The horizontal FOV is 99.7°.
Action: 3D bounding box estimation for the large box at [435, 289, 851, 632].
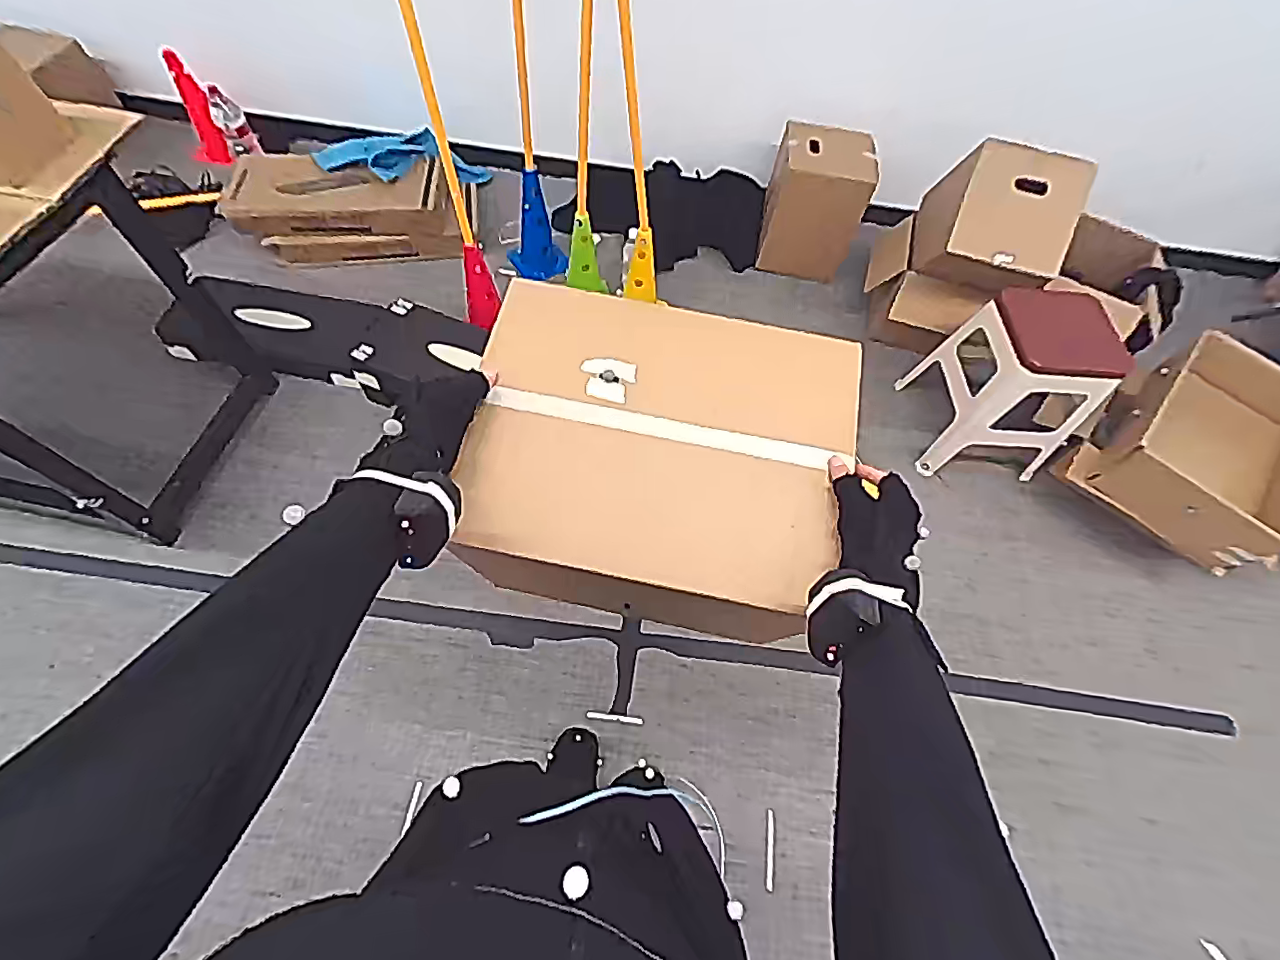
[{"bbox_3d":[0.018,0.001,0.715,0.408,0.320,0.320,12,69,3],"label":"large box"}]
